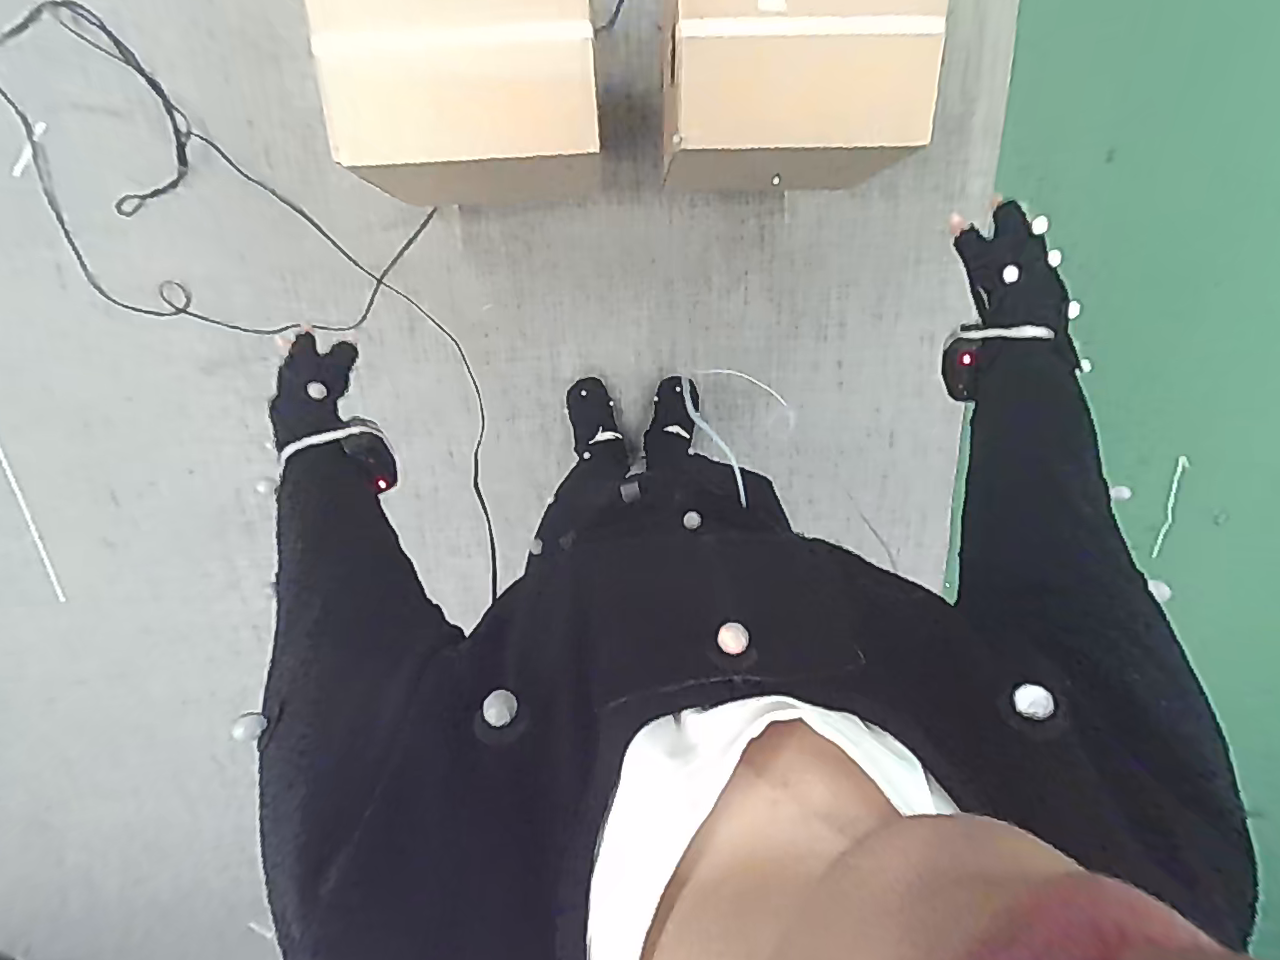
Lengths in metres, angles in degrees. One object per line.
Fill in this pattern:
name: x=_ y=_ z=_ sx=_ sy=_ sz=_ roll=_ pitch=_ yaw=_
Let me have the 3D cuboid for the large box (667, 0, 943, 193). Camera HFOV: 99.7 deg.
large box: x=0.260 y=-0.719 z=0.973 sx=0.408 sy=0.320 sz=0.320 roll=-1 pitch=106 yaw=-2
